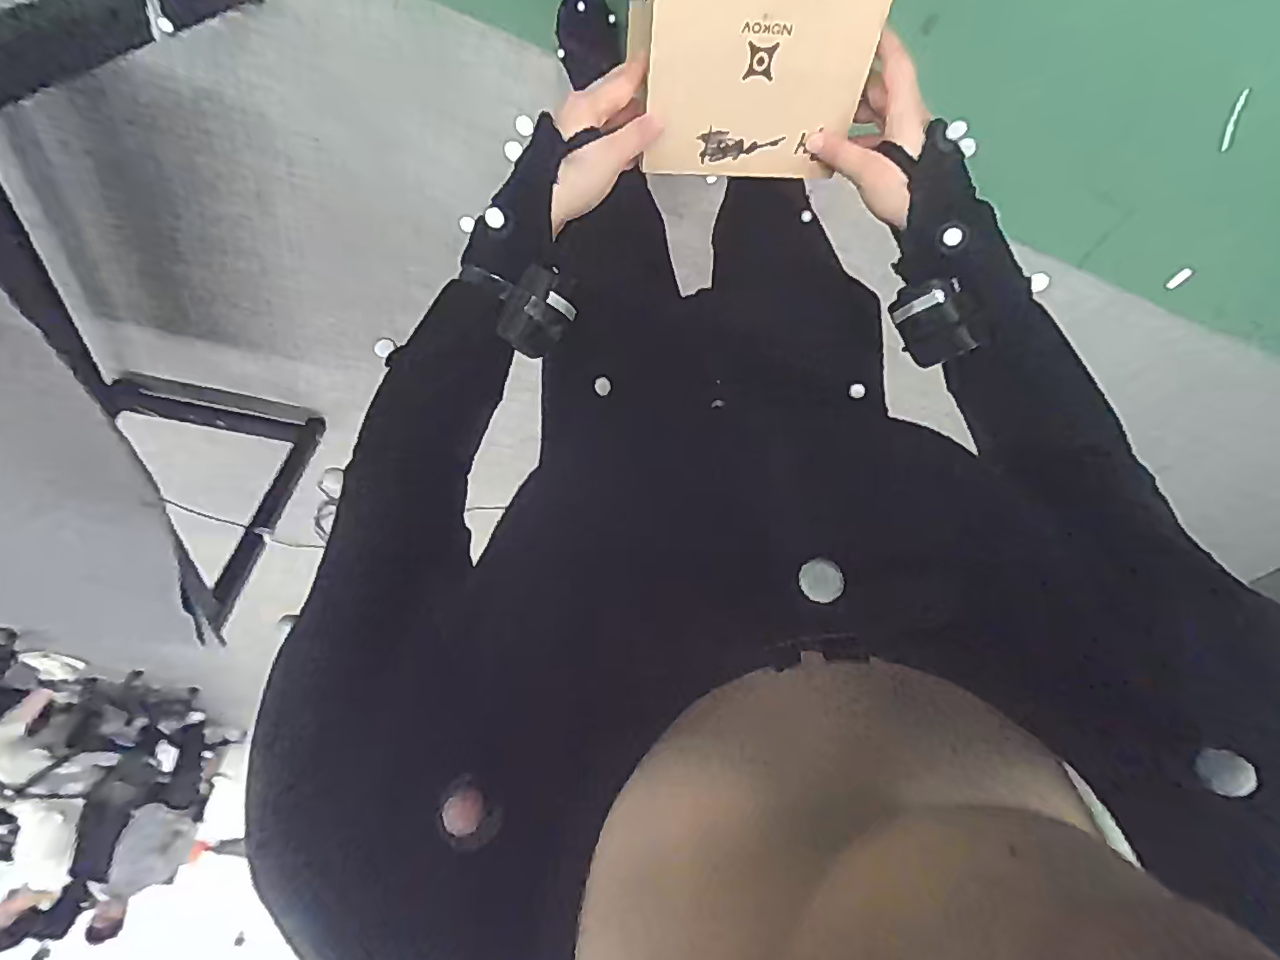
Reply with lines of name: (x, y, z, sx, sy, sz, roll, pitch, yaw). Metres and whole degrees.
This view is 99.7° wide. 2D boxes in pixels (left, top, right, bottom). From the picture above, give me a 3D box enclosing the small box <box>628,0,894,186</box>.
small box: (0.081, -0.364, 0.434, 0.168, 0.176, 0.179, -2, 141, -6)
